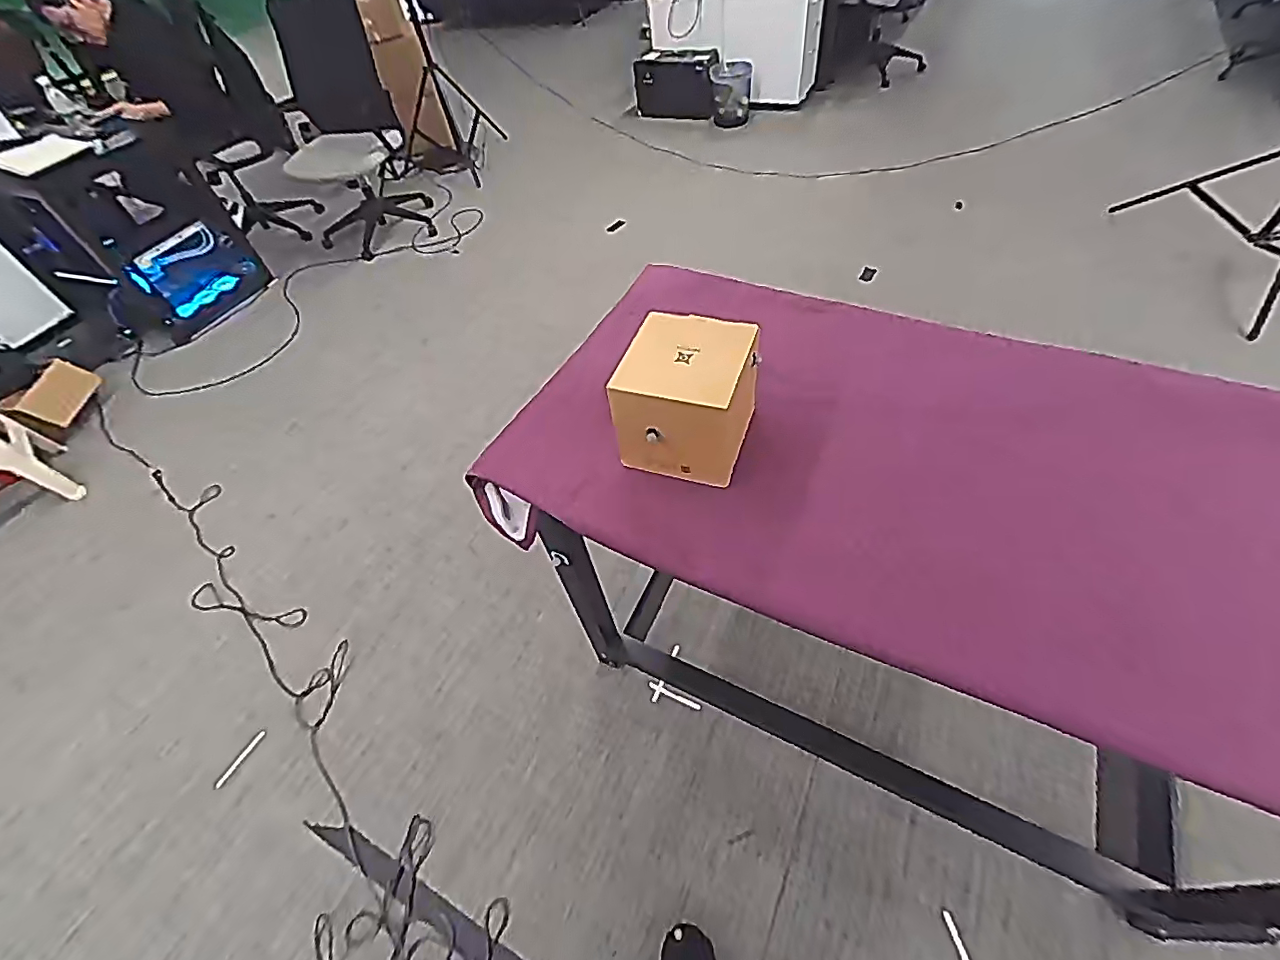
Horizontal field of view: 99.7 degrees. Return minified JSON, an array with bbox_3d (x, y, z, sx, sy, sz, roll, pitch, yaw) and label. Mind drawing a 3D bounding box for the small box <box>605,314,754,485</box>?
[{"bbox_3d":[0.067,-0.117,0.798,0.168,0.176,0.179,12,54,17],"label":"small box"}]
